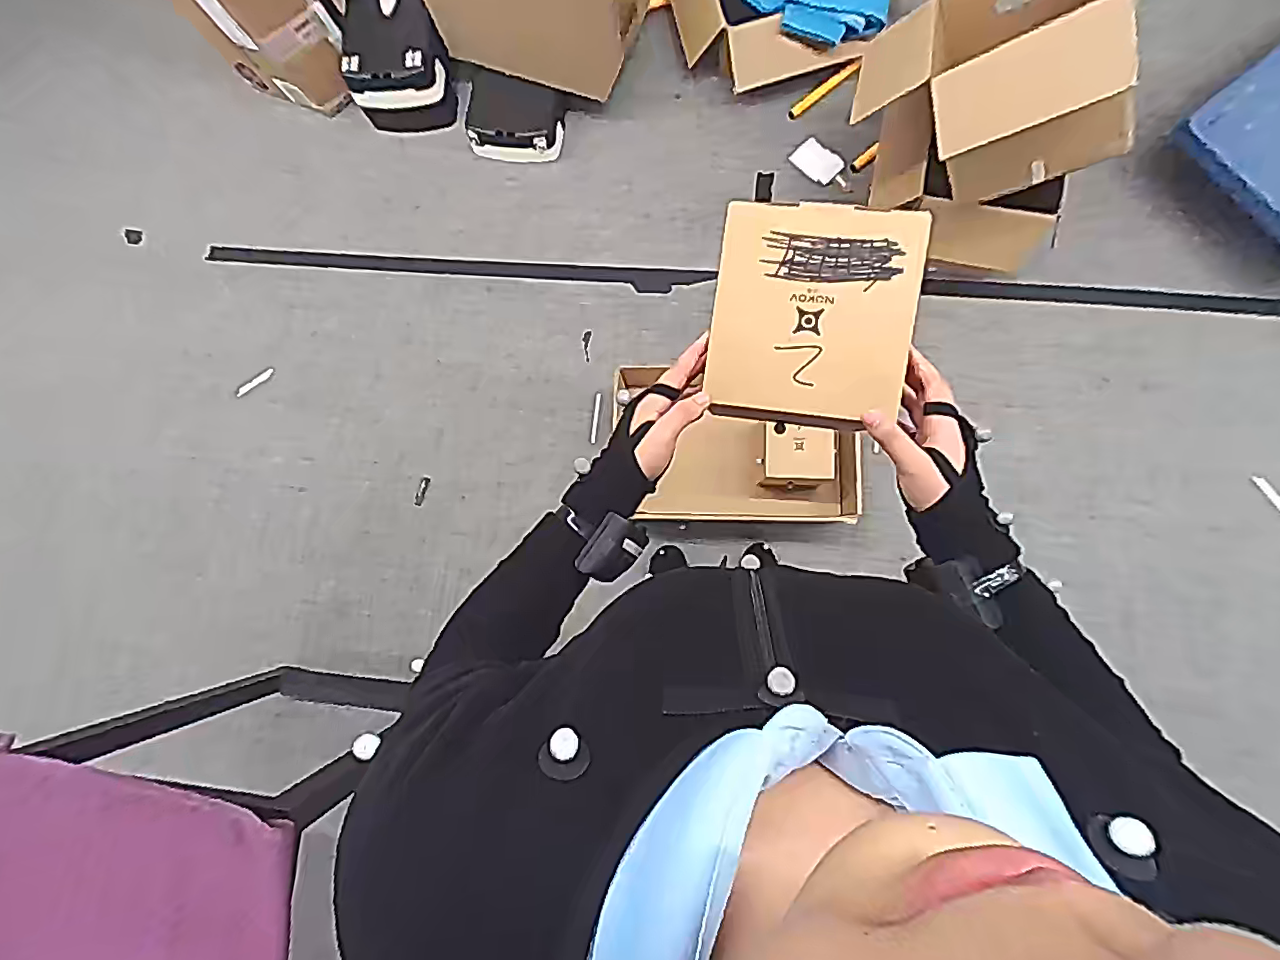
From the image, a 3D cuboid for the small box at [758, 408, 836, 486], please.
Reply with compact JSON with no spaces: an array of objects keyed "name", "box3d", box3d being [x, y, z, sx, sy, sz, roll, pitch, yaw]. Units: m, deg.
[{"name":"small box","box3d":[0.400,-0.079,1.397,0.168,0.176,0.179,2,82,5]}]
